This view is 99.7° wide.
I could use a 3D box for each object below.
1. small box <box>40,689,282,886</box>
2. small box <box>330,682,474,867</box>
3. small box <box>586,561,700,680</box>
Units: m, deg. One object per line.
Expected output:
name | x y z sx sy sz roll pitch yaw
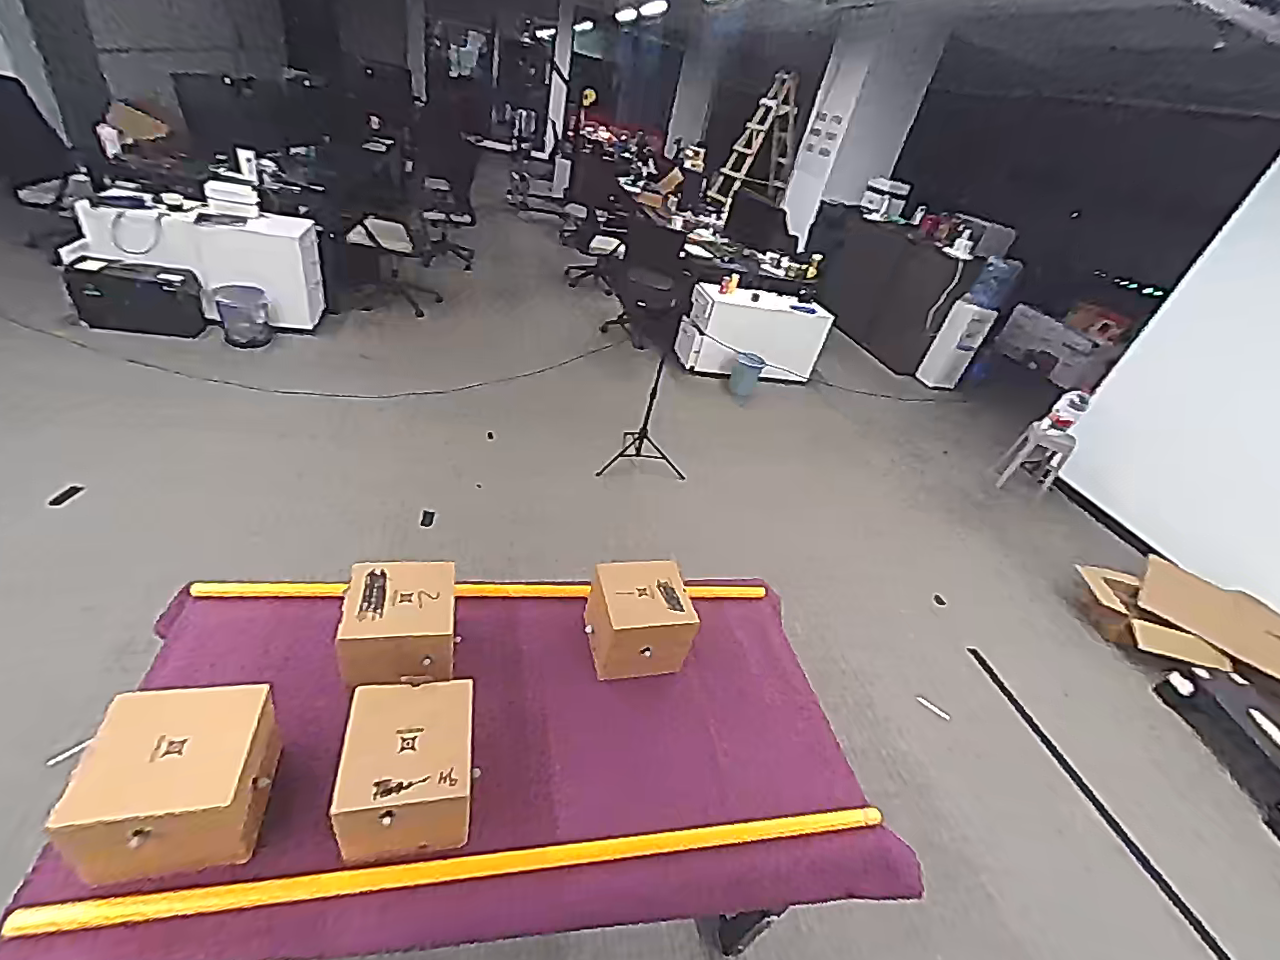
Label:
small box | -0.604 0.403 0.717 0.179 0.176 0.168 2 36 -18
small box | -0.334 0.423 0.789 0.168 0.176 0.179 2 36 -16
small box | -0.003 0.285 1.101 0.179 0.176 0.168 0 38 -18
